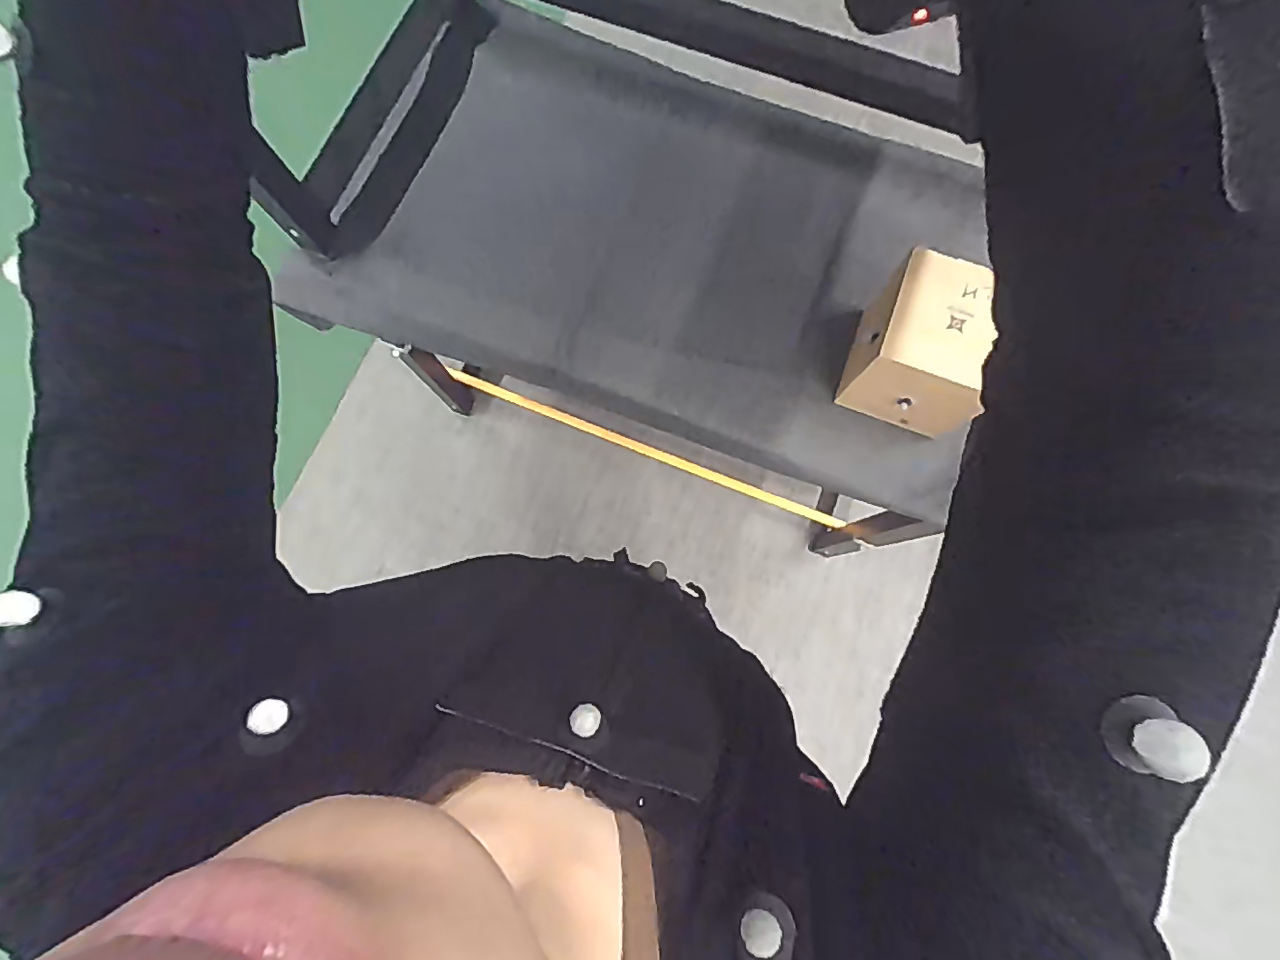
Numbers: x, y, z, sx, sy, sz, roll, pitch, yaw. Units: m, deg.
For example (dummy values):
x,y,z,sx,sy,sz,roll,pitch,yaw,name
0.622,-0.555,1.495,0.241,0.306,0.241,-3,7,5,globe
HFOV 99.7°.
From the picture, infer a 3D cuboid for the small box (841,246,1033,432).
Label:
x,y,z,sx,sy,sz,roll,pitch,yaw,name
0.411,-0.189,0.777,0.168,0.176,0.179,21,77,4,small box
